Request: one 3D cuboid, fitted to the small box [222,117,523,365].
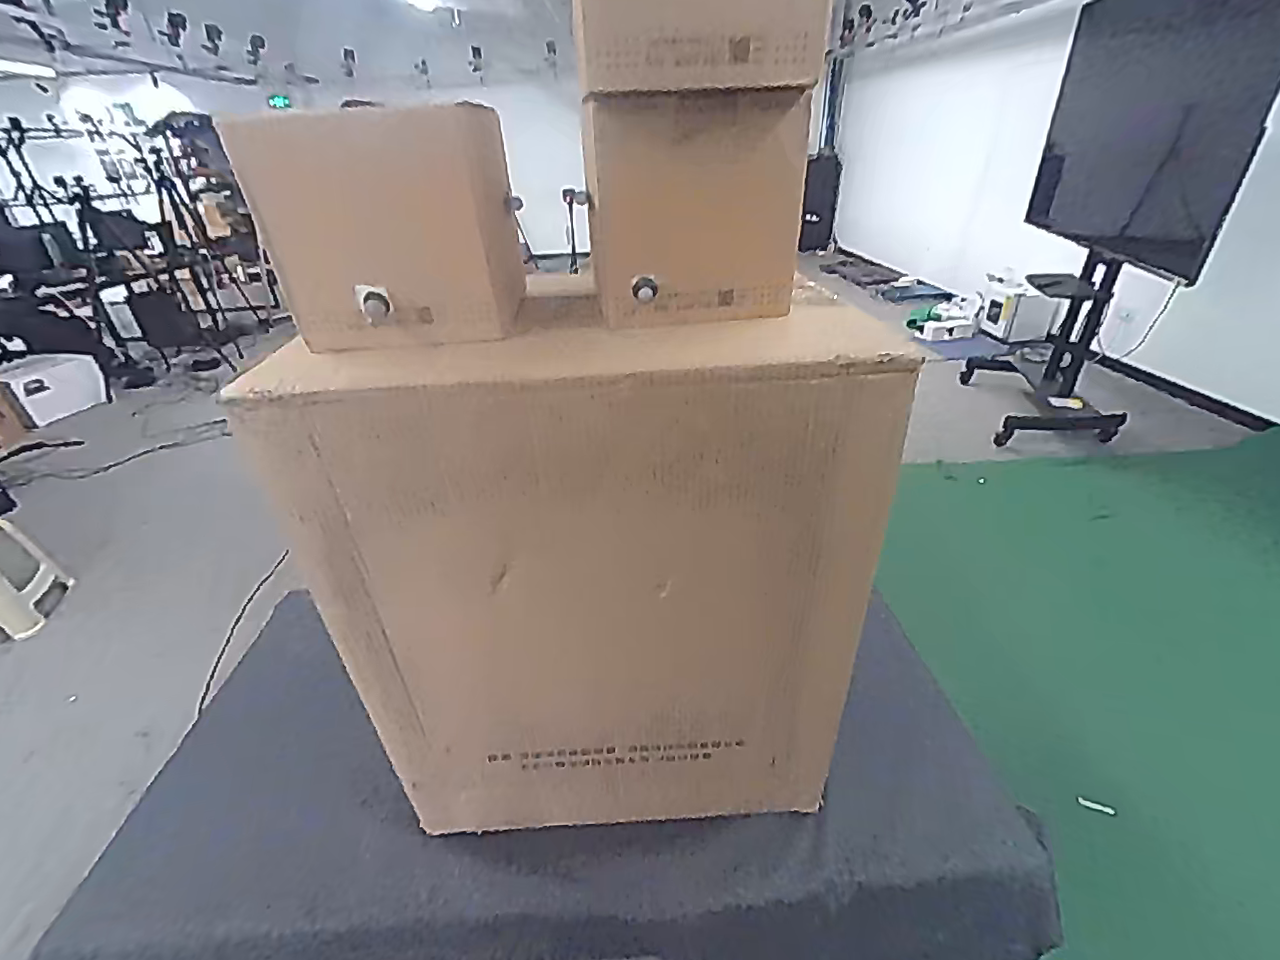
[{"bbox_3d":[-0.206,-0.216,0.483,0.168,0.176,0.179,-7,35,-1],"label":"small box"}]

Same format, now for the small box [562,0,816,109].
[{"bbox_3d":[0.024,-0.375,0.398,0.168,0.176,0.179,-6,33,-4],"label":"small box"}]

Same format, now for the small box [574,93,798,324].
[{"bbox_3d":[0.032,-0.249,0.503,0.168,0.176,0.179,-7,32,-6],"label":"small box"}]
